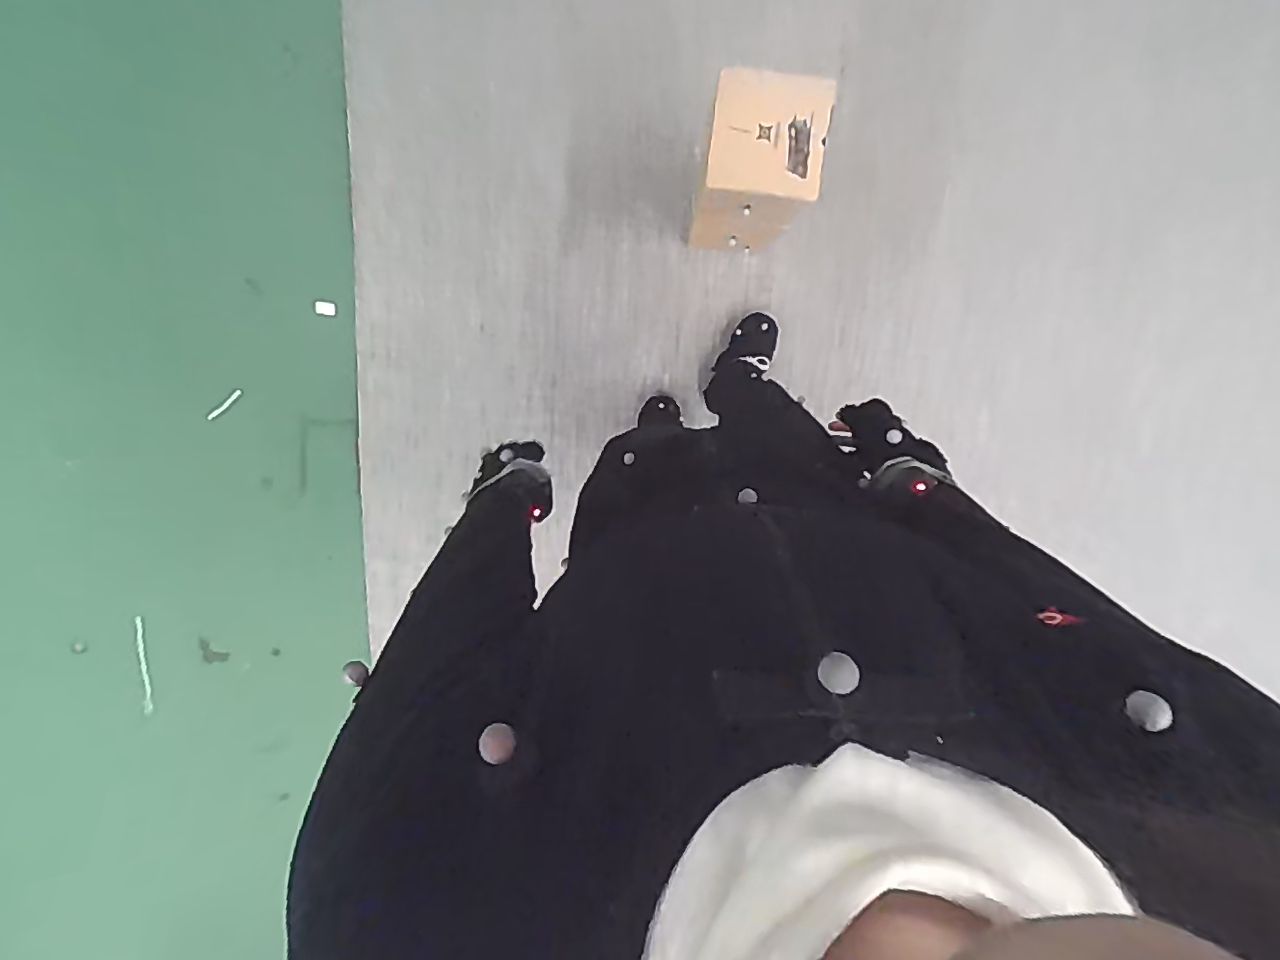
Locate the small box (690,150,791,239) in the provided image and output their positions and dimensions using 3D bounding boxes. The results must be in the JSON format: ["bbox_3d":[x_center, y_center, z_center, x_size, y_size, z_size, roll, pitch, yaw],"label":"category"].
[{"bbox_3d":[0.201,-0.577,1.045,0.179,0.176,0.168,9,104,-2],"label":"small box"}]

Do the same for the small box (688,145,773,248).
[{"bbox_3d":[0.206,-0.622,1.203,0.179,0.176,0.168,5,103,1],"label":"small box"}]

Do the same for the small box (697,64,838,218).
[{"bbox_3d":[0.196,-0.539,0.885,0.179,0.176,0.168,4,104,-1],"label":"small box"}]
